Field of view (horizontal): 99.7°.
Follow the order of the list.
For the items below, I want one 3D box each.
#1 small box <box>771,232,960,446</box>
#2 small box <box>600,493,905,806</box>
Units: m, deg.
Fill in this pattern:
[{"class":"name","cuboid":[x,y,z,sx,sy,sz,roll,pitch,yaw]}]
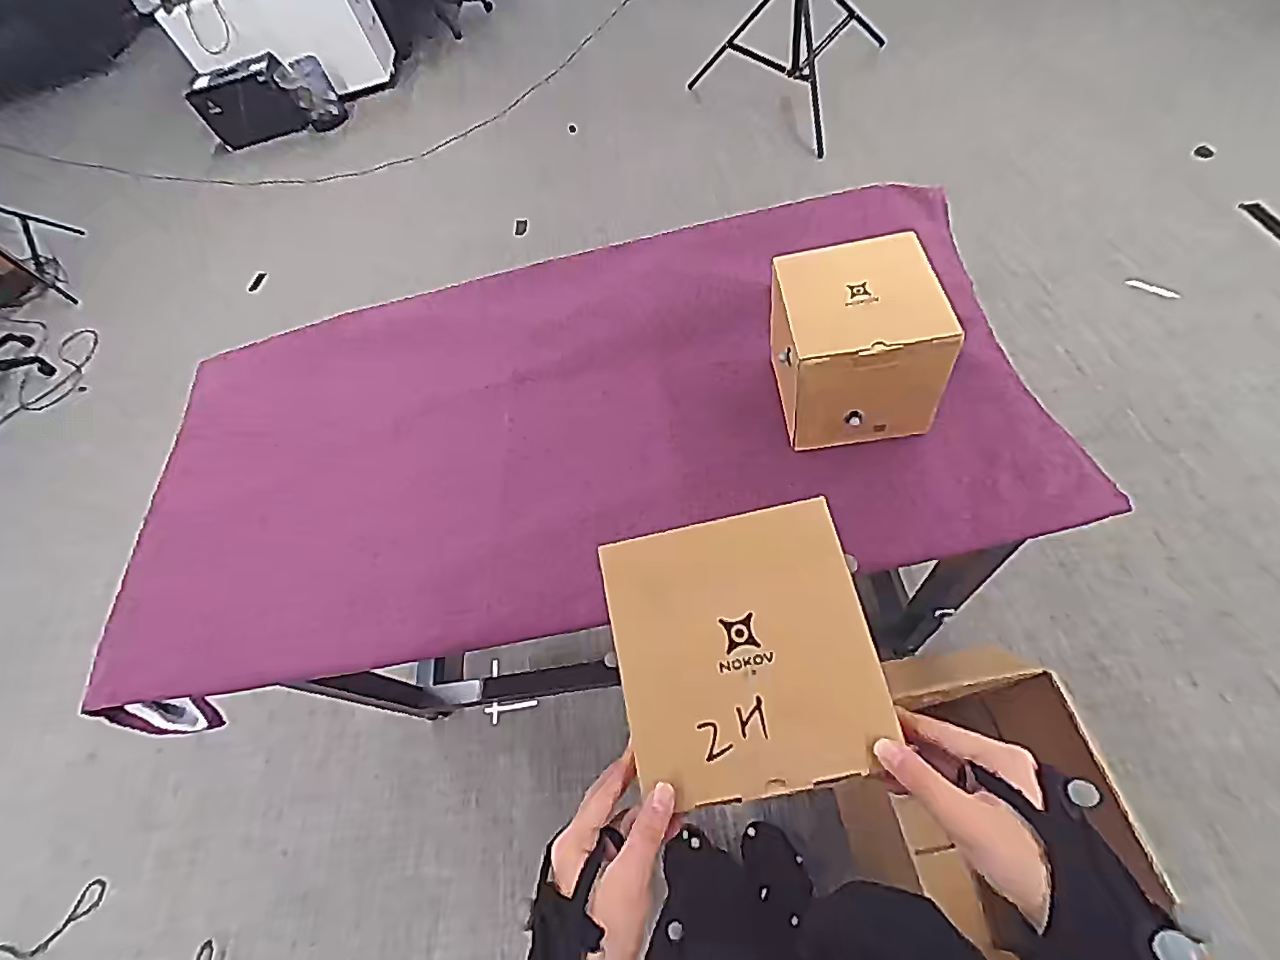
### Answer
[{"class":"small box","cuboid":[0.256,-0.166,0.666,0.168,0.176,0.179,-9,58,9]},{"class":"small box","cuboid":[0.074,0.131,0.430,0.168,0.176,0.179,-13,70,4]}]
